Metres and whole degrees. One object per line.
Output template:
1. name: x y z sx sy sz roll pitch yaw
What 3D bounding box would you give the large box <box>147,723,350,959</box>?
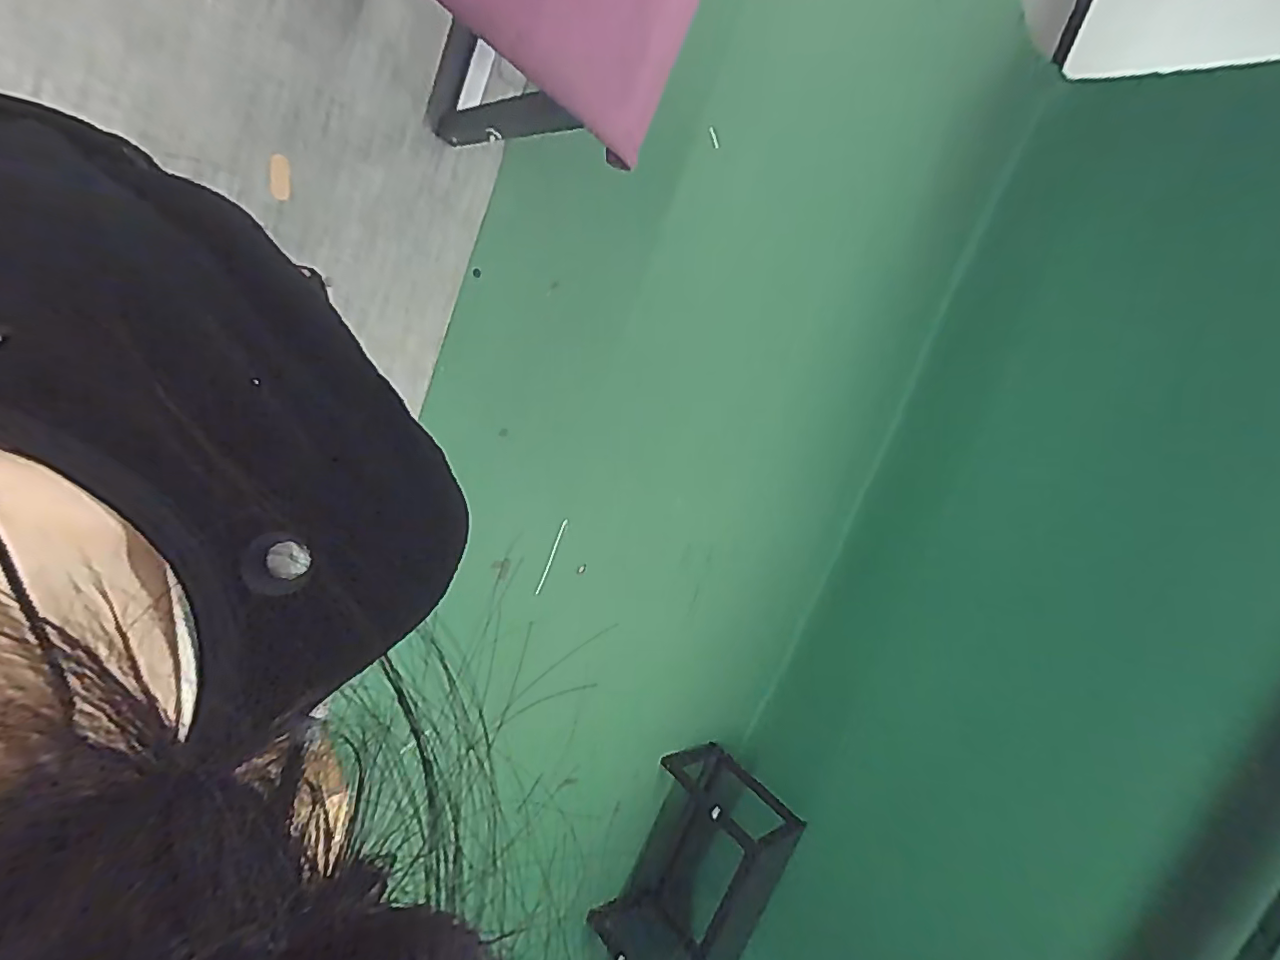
1. large box: -1.067 0.958 1.491 0.408 0.320 0.320 -7 116 -43
